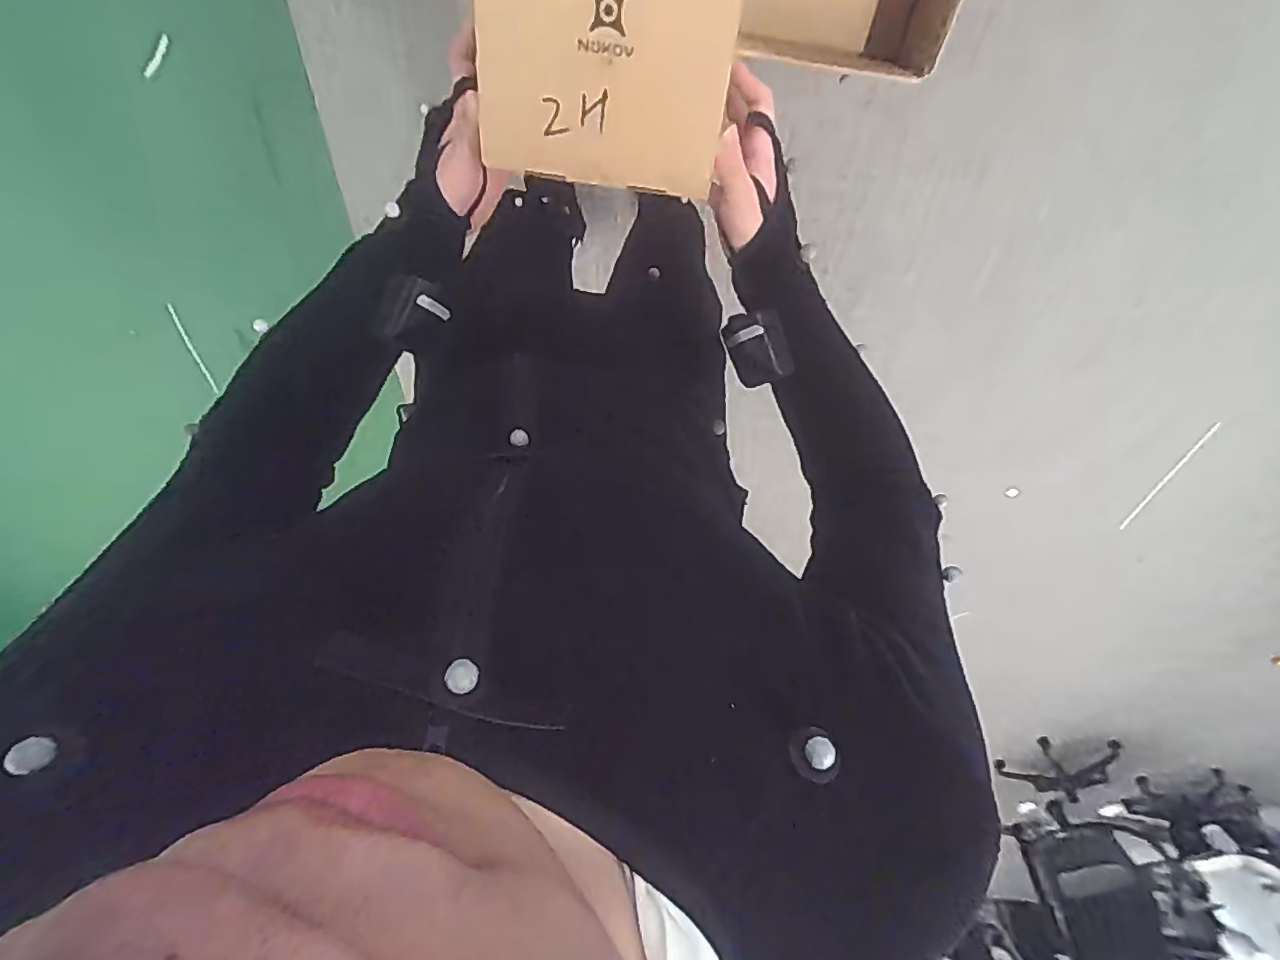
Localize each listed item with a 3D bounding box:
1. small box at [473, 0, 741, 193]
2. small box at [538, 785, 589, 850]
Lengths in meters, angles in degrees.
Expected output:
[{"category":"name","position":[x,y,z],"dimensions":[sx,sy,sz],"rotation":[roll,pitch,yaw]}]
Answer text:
[{"category":"small box","position":[-0.018,-0.330,0.399],"dimensions":[0.168,0.176,0.179],"rotation":[8,125,-1]},{"category":"small box","position":[-0.293,1.317,2.109],"dimensions":[0.168,0.176,0.179],"rotation":[4,132,3]}]
